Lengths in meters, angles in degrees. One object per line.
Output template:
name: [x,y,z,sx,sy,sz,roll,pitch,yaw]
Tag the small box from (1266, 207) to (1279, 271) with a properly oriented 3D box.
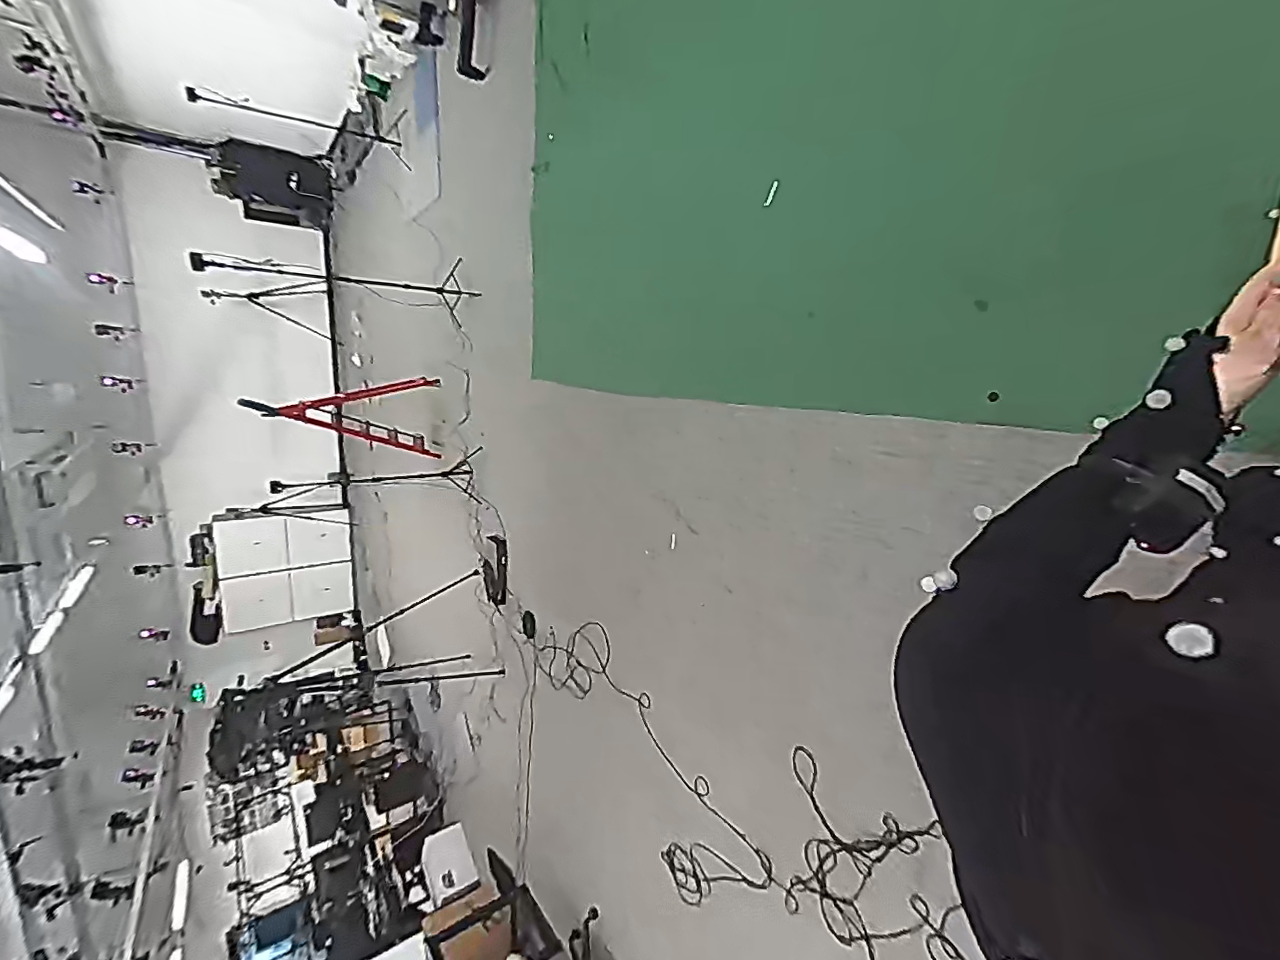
small box: [1.100,-0.413,0.815,0.168,0.176,0.179,16,108,52]
